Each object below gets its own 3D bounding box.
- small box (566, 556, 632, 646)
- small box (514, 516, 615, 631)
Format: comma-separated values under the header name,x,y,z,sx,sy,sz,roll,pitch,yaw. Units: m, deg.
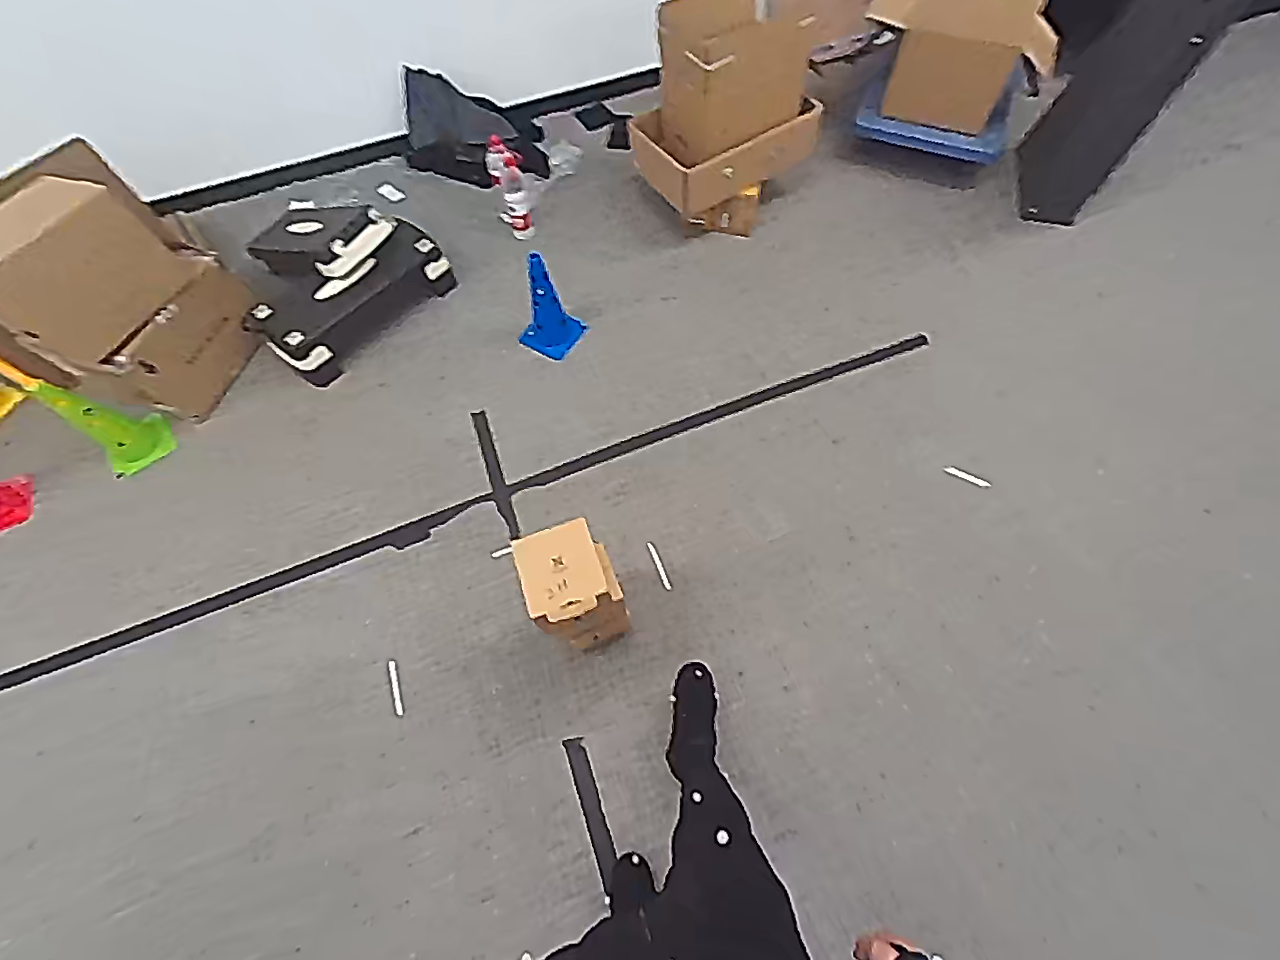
name,x,y,z,sx,sy,sz,roll,pitch,yaw
small box,-0.128,0.339,1.477,0.168,0.176,0.179,-23,65,-9
small box,-0.160,0.207,1.175,0.168,0.176,0.179,-18,64,-7
